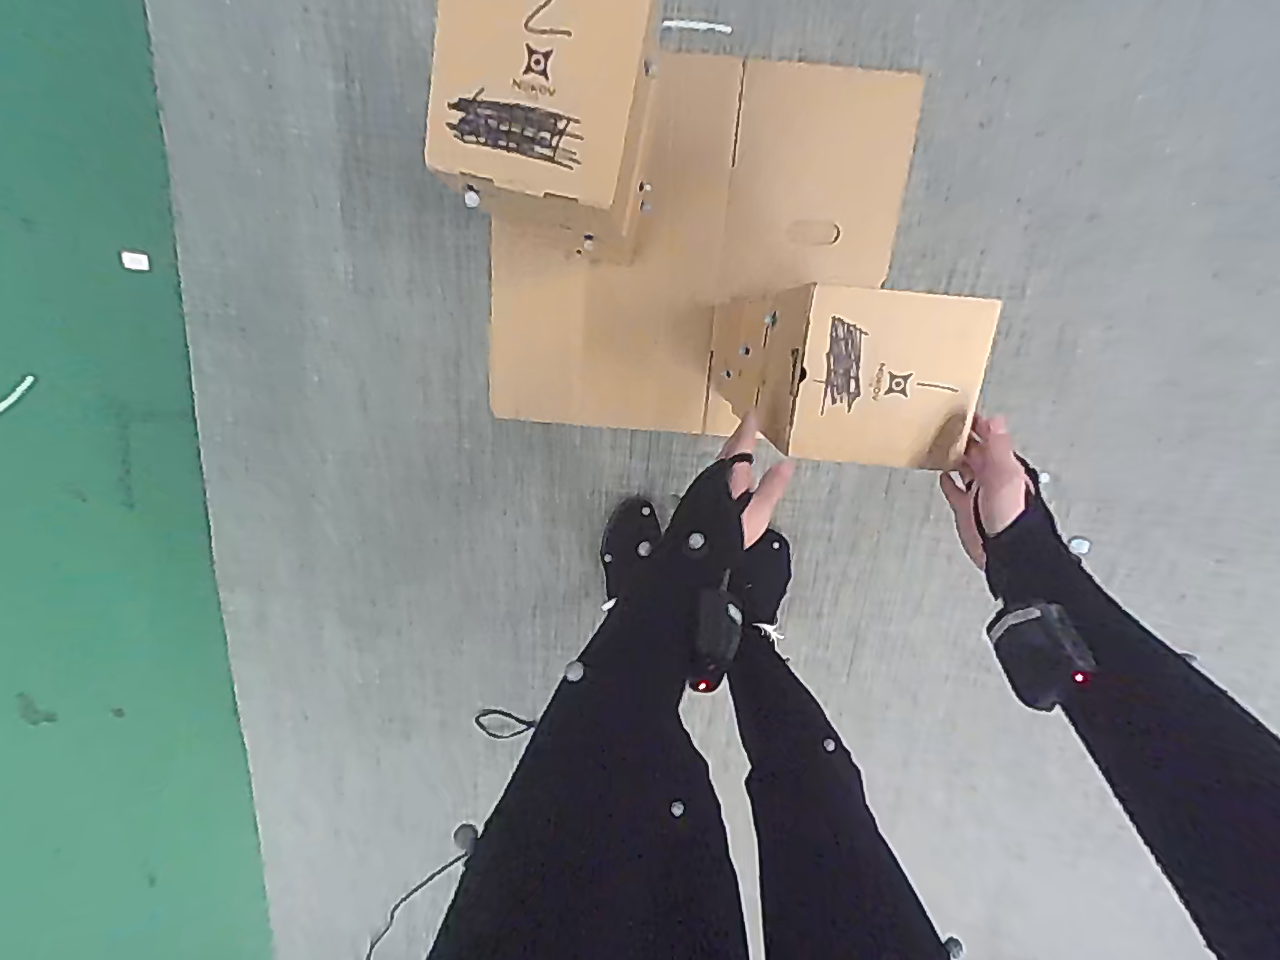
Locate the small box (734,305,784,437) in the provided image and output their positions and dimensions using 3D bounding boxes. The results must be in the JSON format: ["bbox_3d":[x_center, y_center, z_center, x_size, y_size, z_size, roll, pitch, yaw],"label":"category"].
[{"bbox_3d":[0.237,-0.149,0.751,0.179,0.176,0.168,5,106,0],"label":"small box"}]

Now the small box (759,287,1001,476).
[{"bbox_3d":[0.238,-0.111,0.591,0.179,0.176,0.168,5,106,-1],"label":"small box"}]

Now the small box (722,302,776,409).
[{"bbox_3d":[0.239,-0.198,0.905,0.179,0.176,0.168,6,105,-1],"label":"small box"}]

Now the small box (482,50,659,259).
[{"bbox_3d":[-0.080,-0.388,0.682,0.179,0.176,0.168,12,104,-3],"label":"small box"}]
